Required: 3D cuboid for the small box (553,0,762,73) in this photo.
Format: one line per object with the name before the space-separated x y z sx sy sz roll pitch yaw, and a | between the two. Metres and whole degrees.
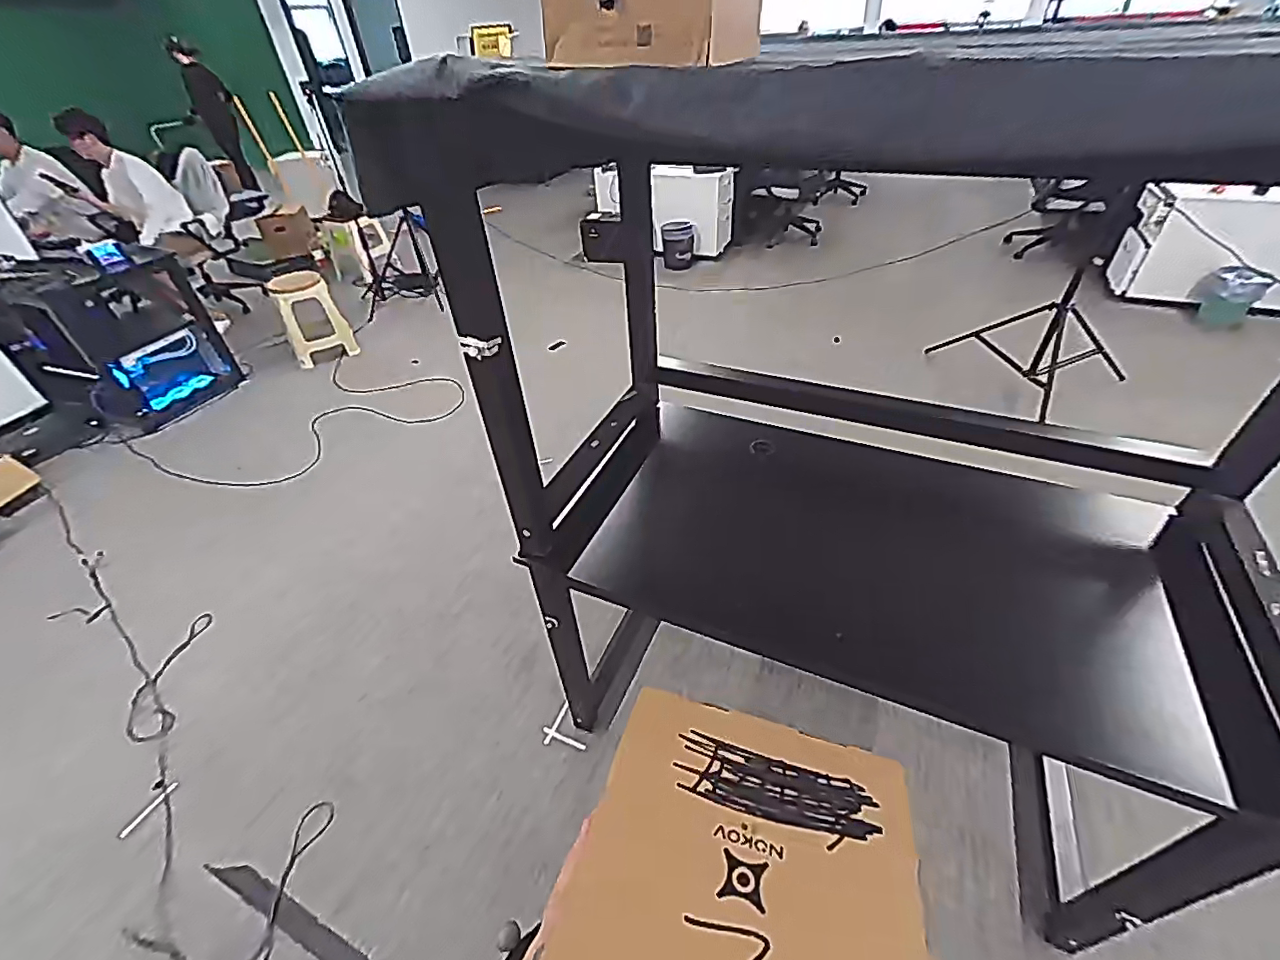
small box | 0.021 -0.491 0.502 0.168 0.176 0.179 14 43 18
